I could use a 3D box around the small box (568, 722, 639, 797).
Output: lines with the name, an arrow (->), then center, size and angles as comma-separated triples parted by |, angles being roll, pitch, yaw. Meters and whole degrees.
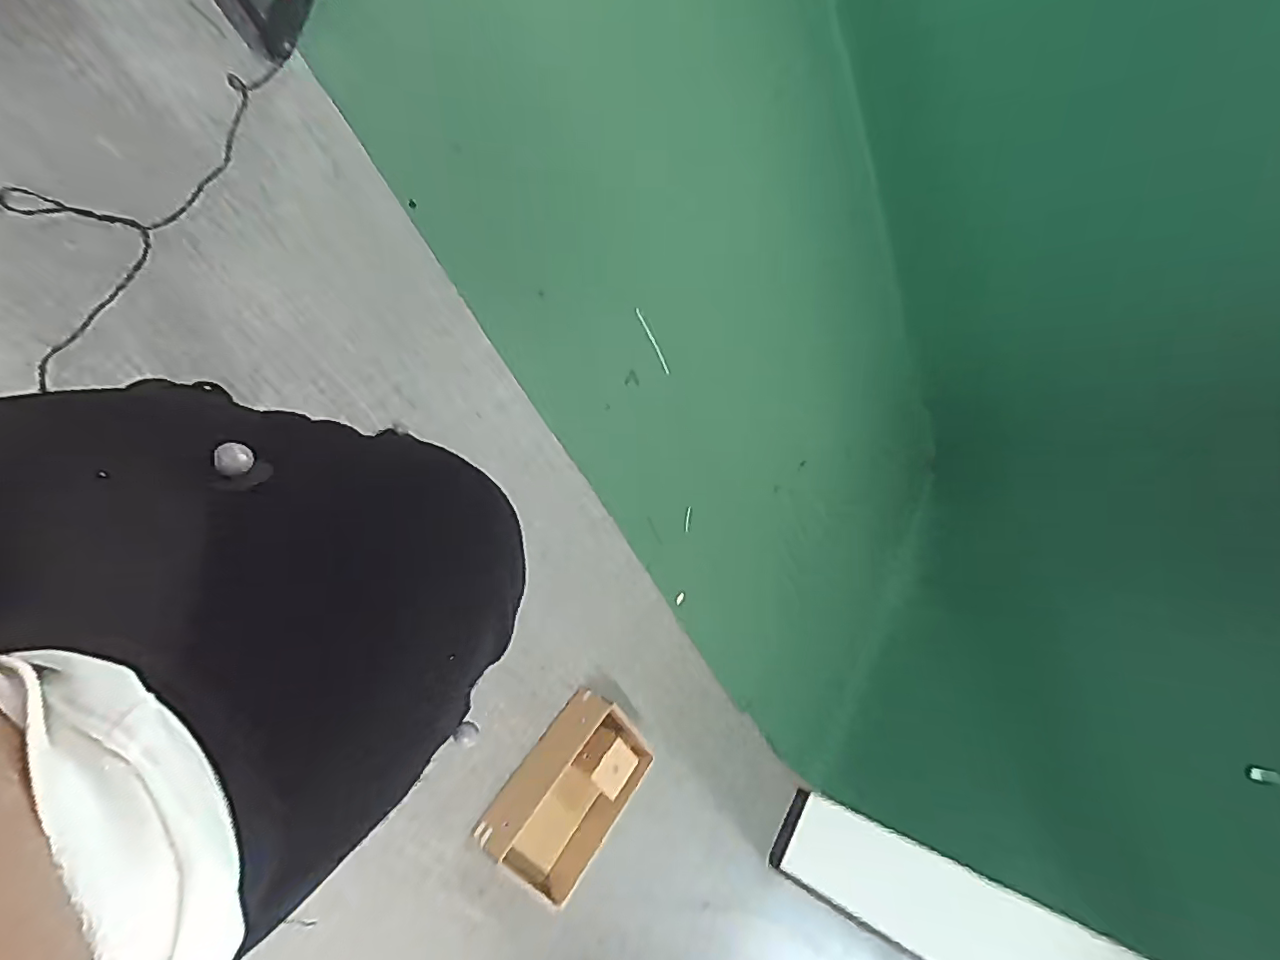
small box -> -0.144, 1.056, 2.062 | 0.168, 0.176, 0.179 | -48, 124, -28
